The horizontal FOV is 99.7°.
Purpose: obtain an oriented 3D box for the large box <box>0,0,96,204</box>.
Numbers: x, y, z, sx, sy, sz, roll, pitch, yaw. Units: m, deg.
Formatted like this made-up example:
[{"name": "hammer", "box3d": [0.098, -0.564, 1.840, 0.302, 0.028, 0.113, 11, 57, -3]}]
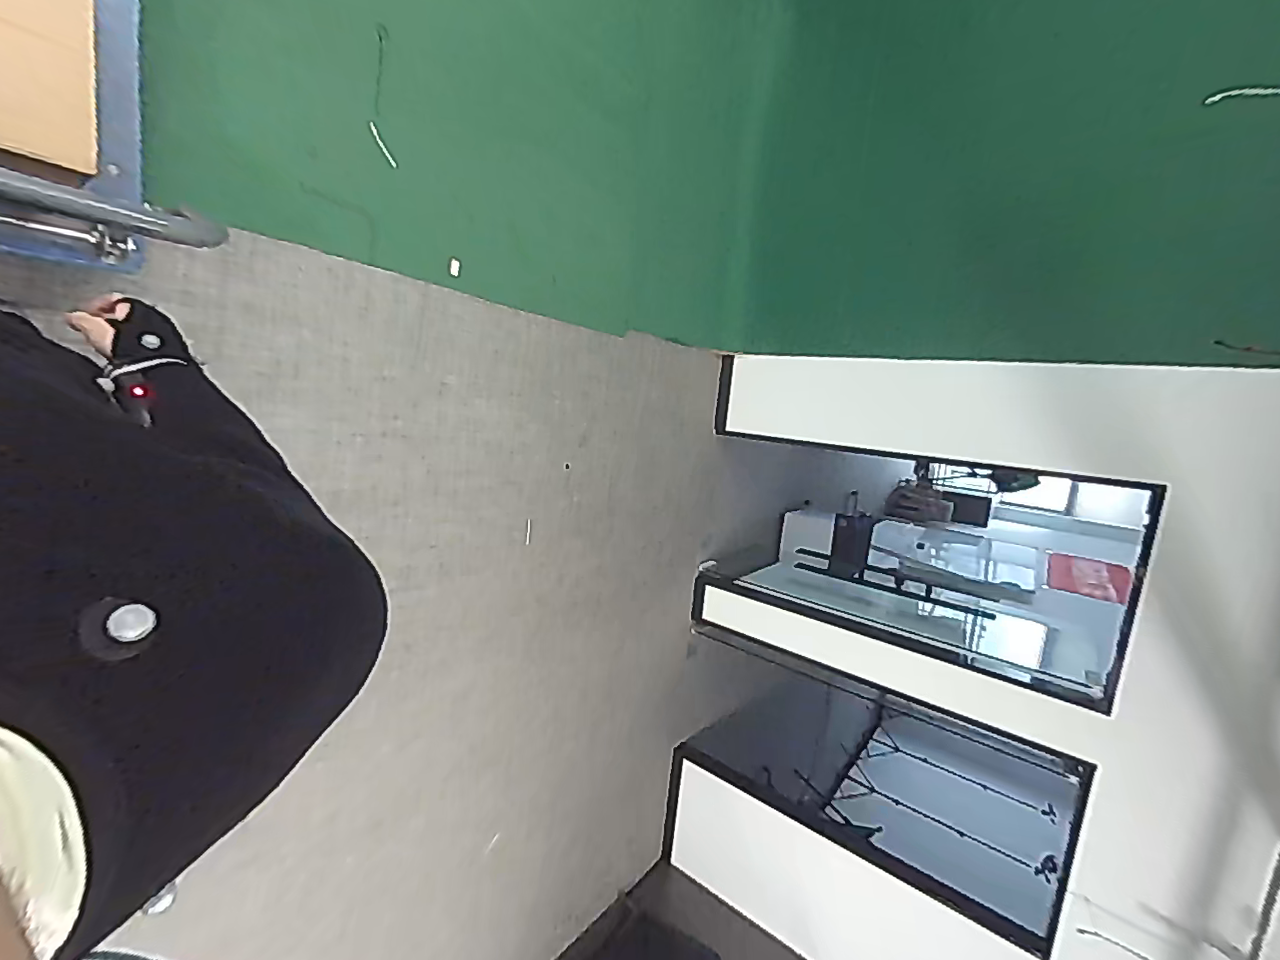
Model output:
[{"name": "large box", "box3d": [-1.012, -0.663, 0.751, 0.320, 0.320, 0.408, -5, 102, -53]}]
